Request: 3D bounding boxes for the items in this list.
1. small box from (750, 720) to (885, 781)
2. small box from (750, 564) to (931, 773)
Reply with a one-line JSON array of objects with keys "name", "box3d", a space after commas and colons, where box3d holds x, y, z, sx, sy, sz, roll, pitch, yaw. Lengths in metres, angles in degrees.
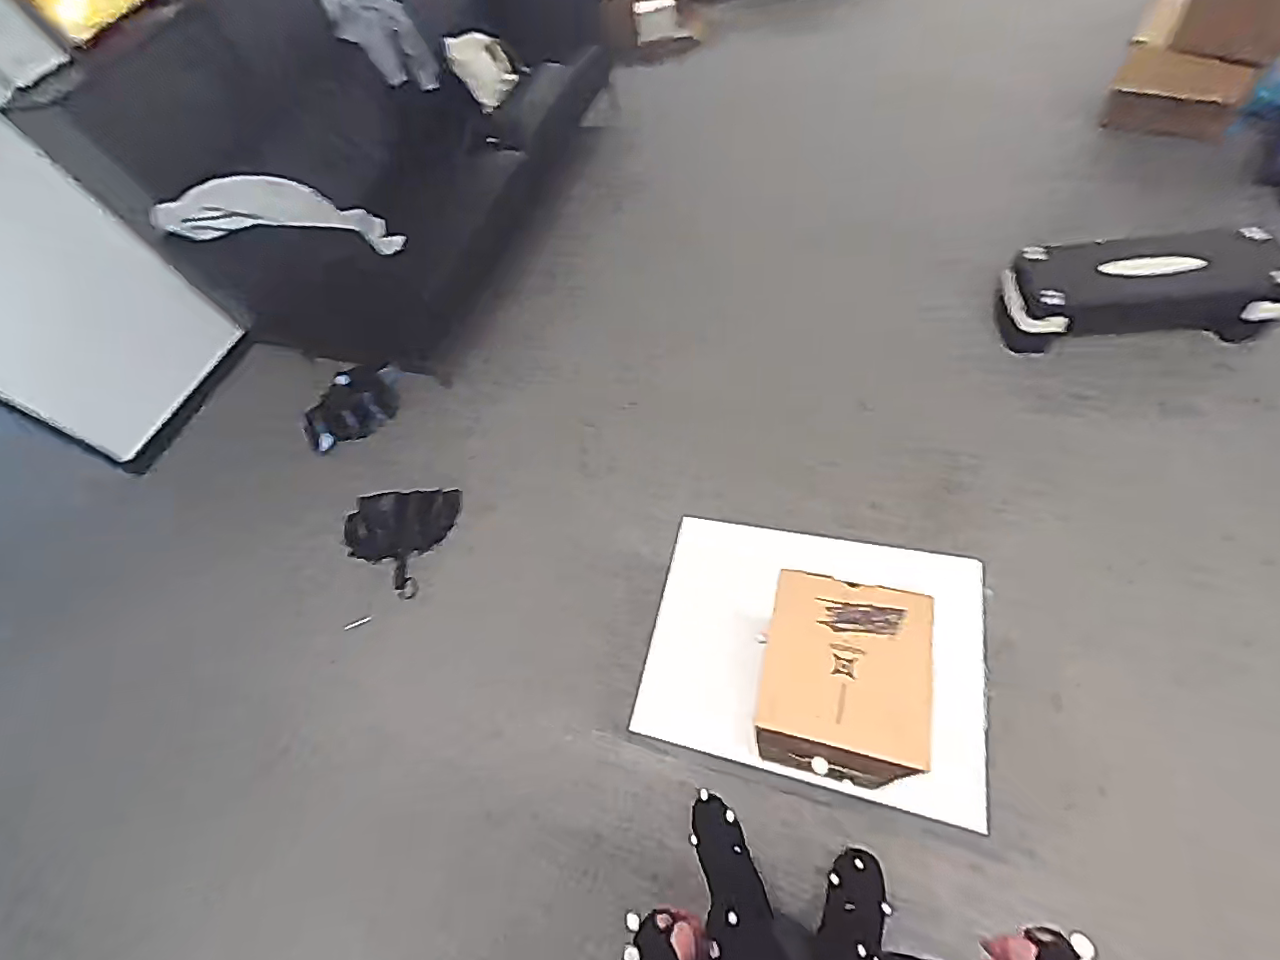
[{"name": "small box", "box3d": [0.257, 0.311, 0.772, 0.168, 0.176, 0.179, 9, 60, 17]}, {"name": "small box", "box3d": [0.227, 0.224, 0.636, 0.168, 0.176, 0.179, 9, 62, 18]}]
